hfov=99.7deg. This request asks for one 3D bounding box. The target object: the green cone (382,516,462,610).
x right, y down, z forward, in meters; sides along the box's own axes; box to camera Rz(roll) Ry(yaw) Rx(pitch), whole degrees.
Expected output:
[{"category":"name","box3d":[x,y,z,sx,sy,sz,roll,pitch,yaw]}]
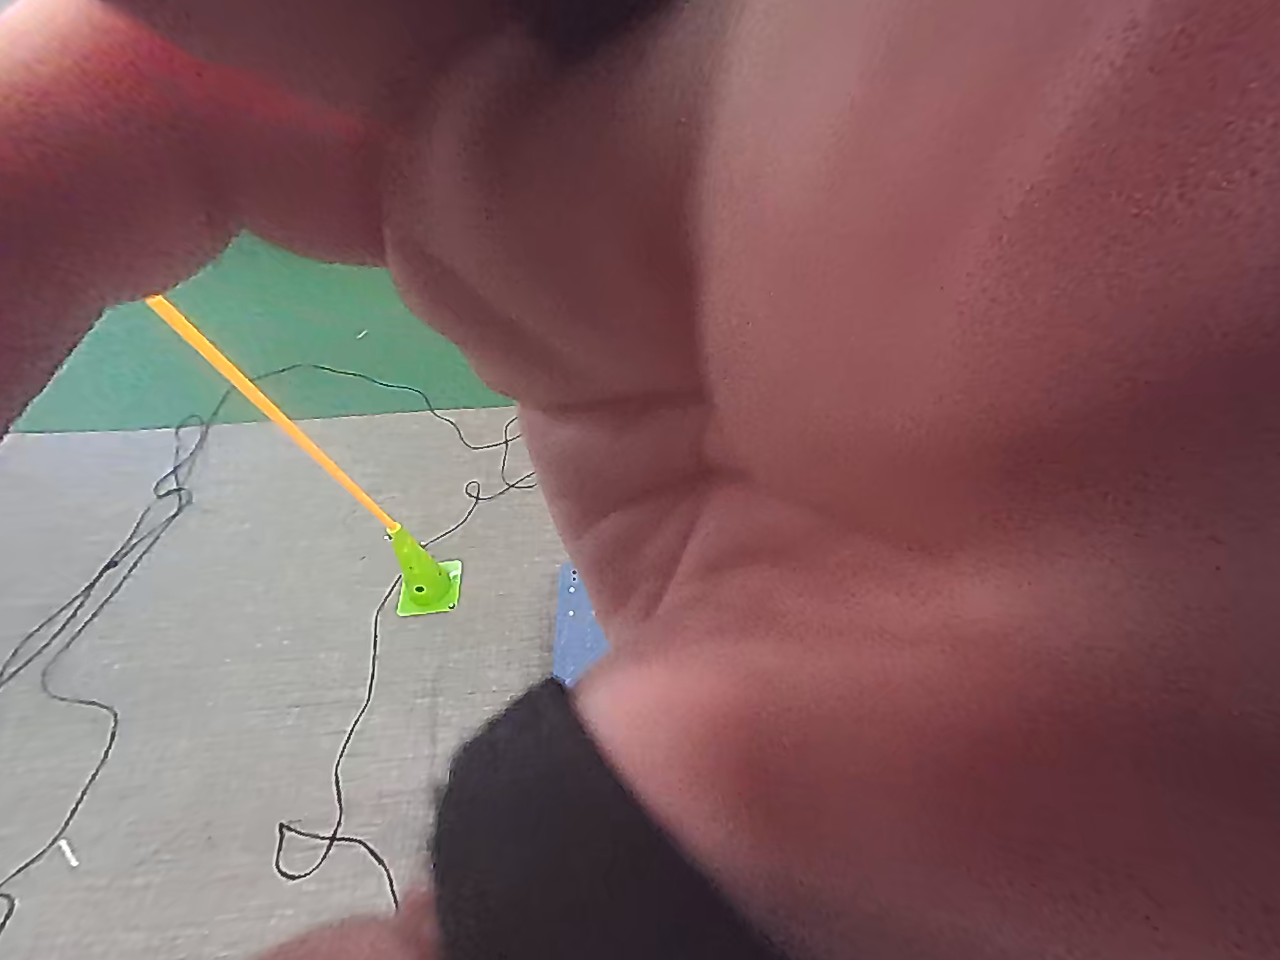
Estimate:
[{"category":"green cone","box3d":[-0.732,0.237,1.741,0.202,0.368,0.200,-8,49,-3]}]
